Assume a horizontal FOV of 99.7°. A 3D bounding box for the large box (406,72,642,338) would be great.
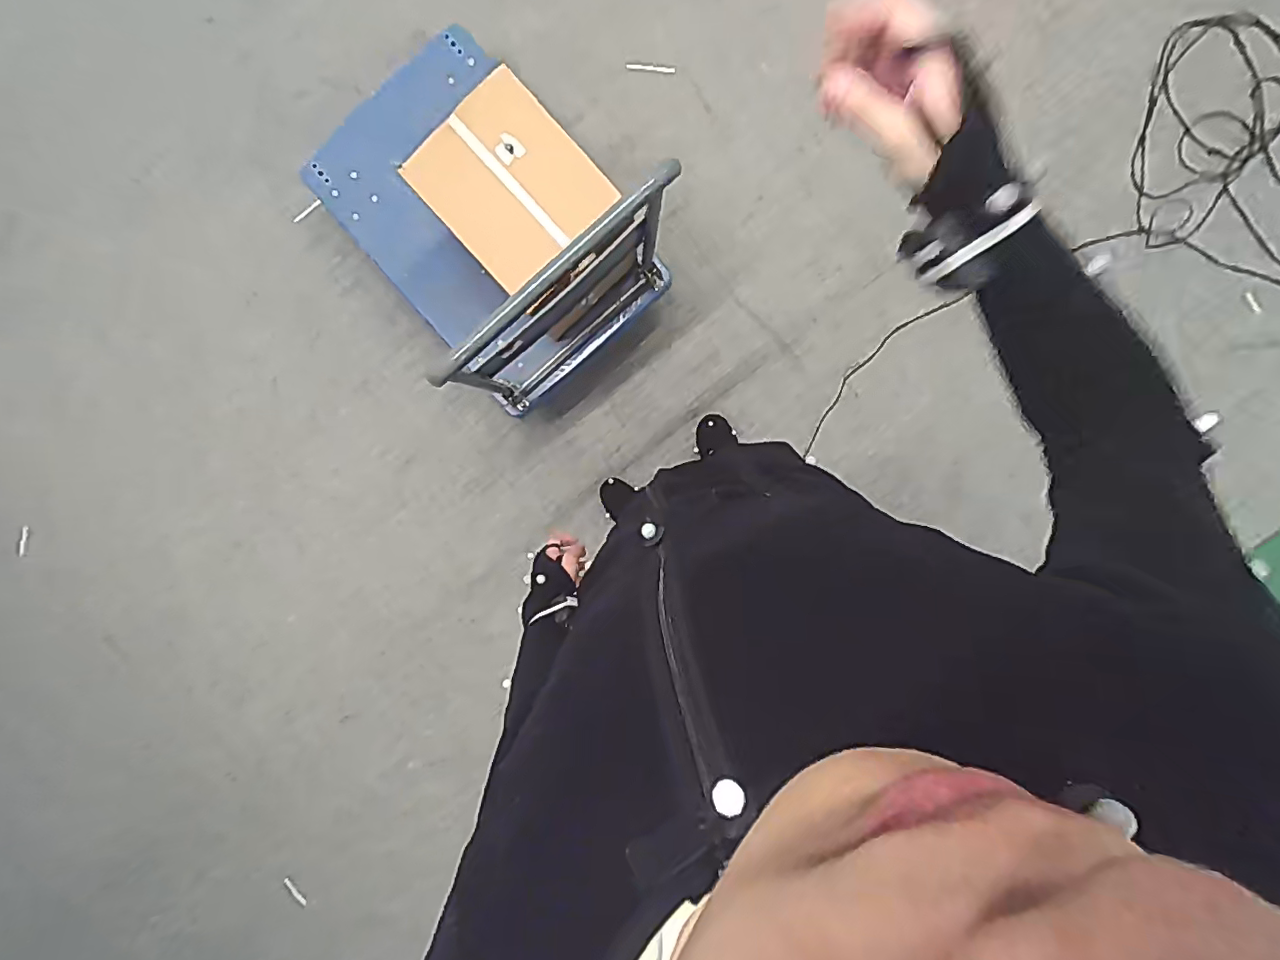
[{"bbox_3d":[-0.242,-0.609,1.278,0.320,0.320,0.408,-42,91,3],"label":"large box"}]
